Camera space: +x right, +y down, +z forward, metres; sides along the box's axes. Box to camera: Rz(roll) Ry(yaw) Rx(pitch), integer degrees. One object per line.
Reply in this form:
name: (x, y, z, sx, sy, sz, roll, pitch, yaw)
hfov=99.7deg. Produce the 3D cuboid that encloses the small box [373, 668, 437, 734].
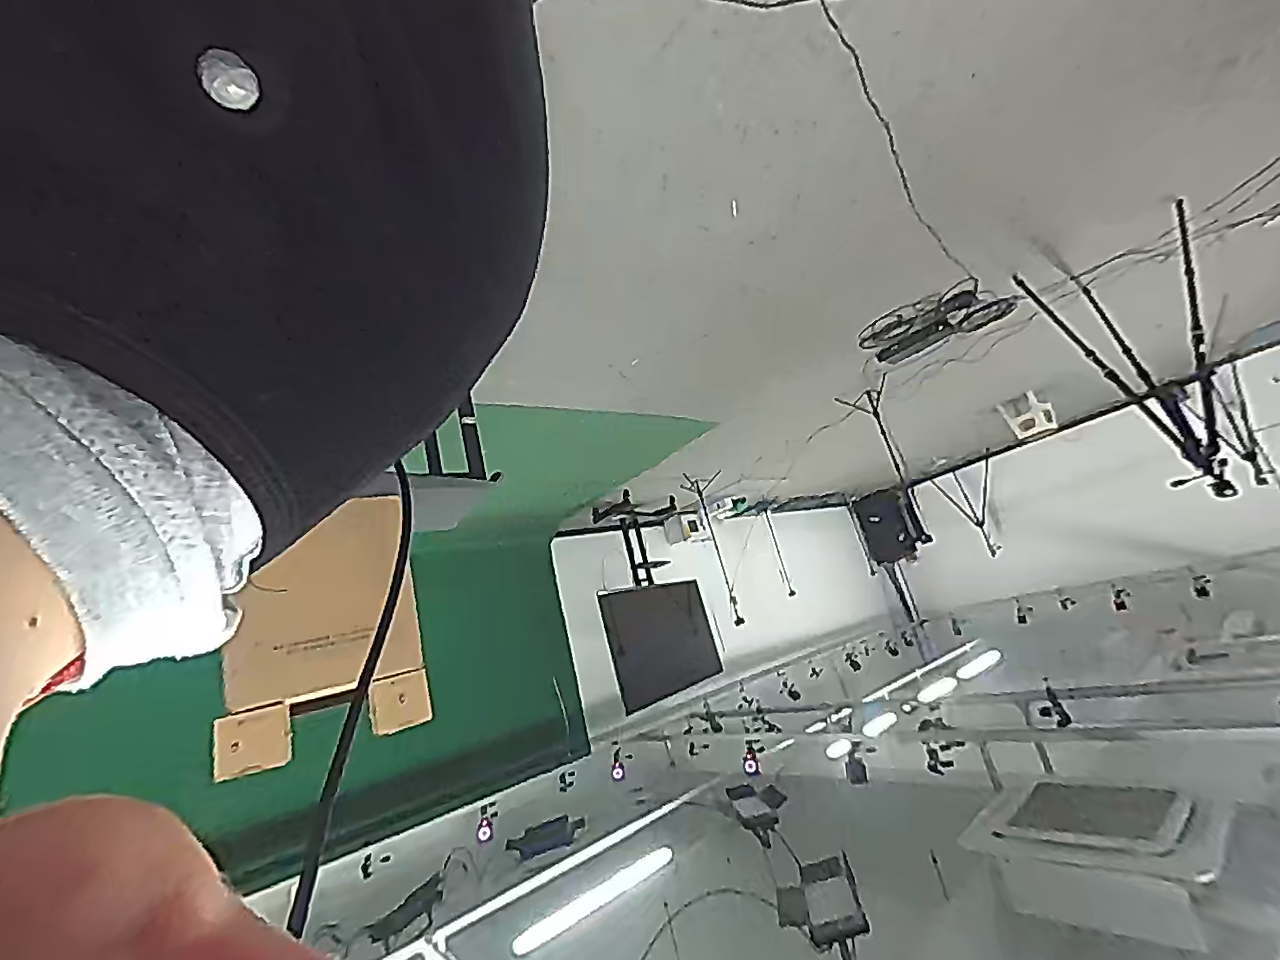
small box: (-0.806, 0.750, 1.841, 0.168, 0.176, 0.179, -6, 162, -33)

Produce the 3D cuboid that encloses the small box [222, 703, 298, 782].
small box: (-1.122, 0.768, 1.602, 0.168, 0.176, 0.179, -4, 162, -28)
